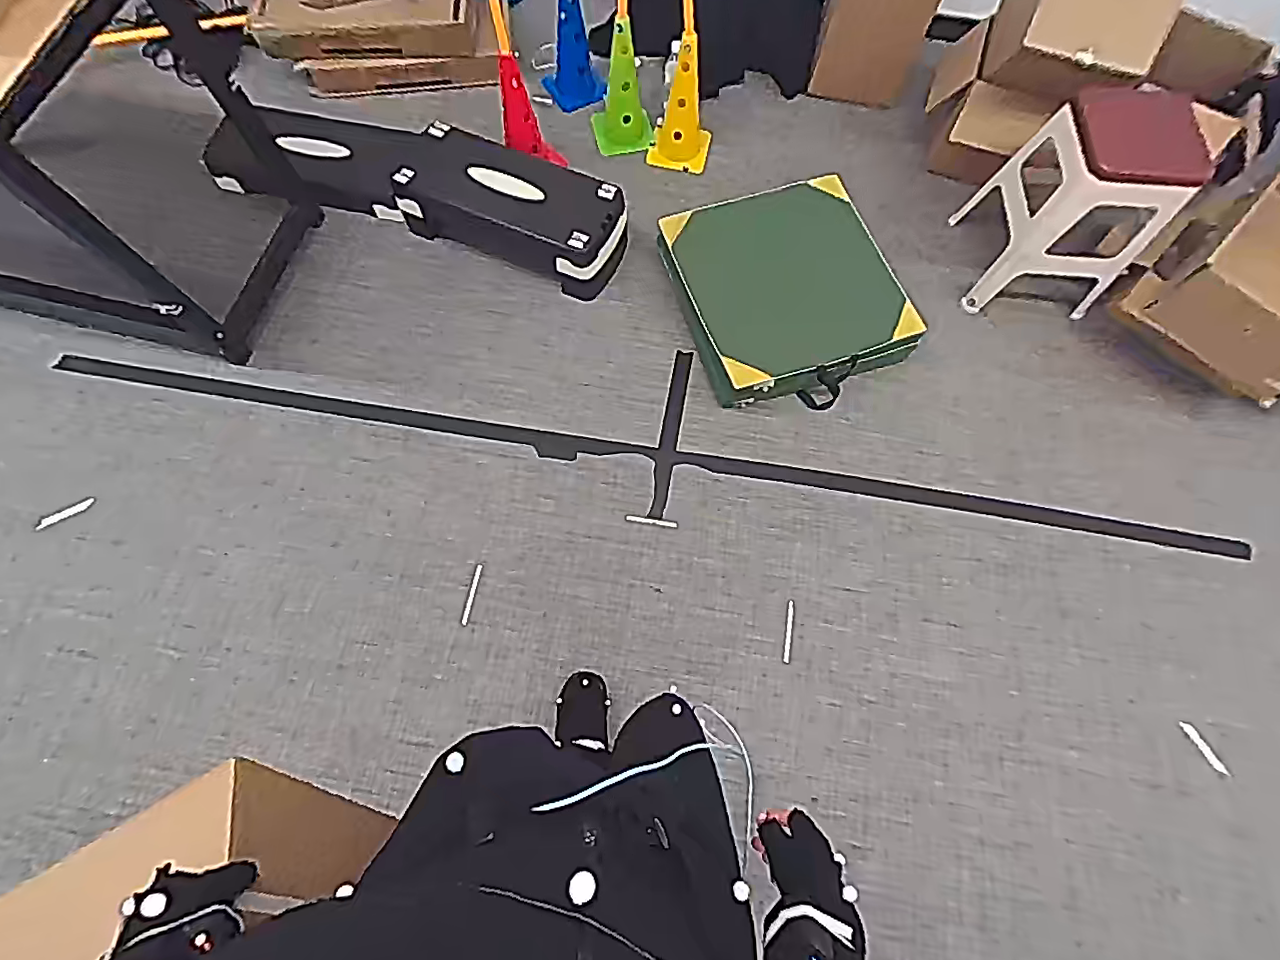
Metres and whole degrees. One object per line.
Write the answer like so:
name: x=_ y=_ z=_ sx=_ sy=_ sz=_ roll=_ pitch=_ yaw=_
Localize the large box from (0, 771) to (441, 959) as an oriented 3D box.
large box: x=-0.492 y=0.635 z=0.654 sx=0.320 sy=0.408 sz=0.320 roll=-30 pitch=44 yaw=-9
